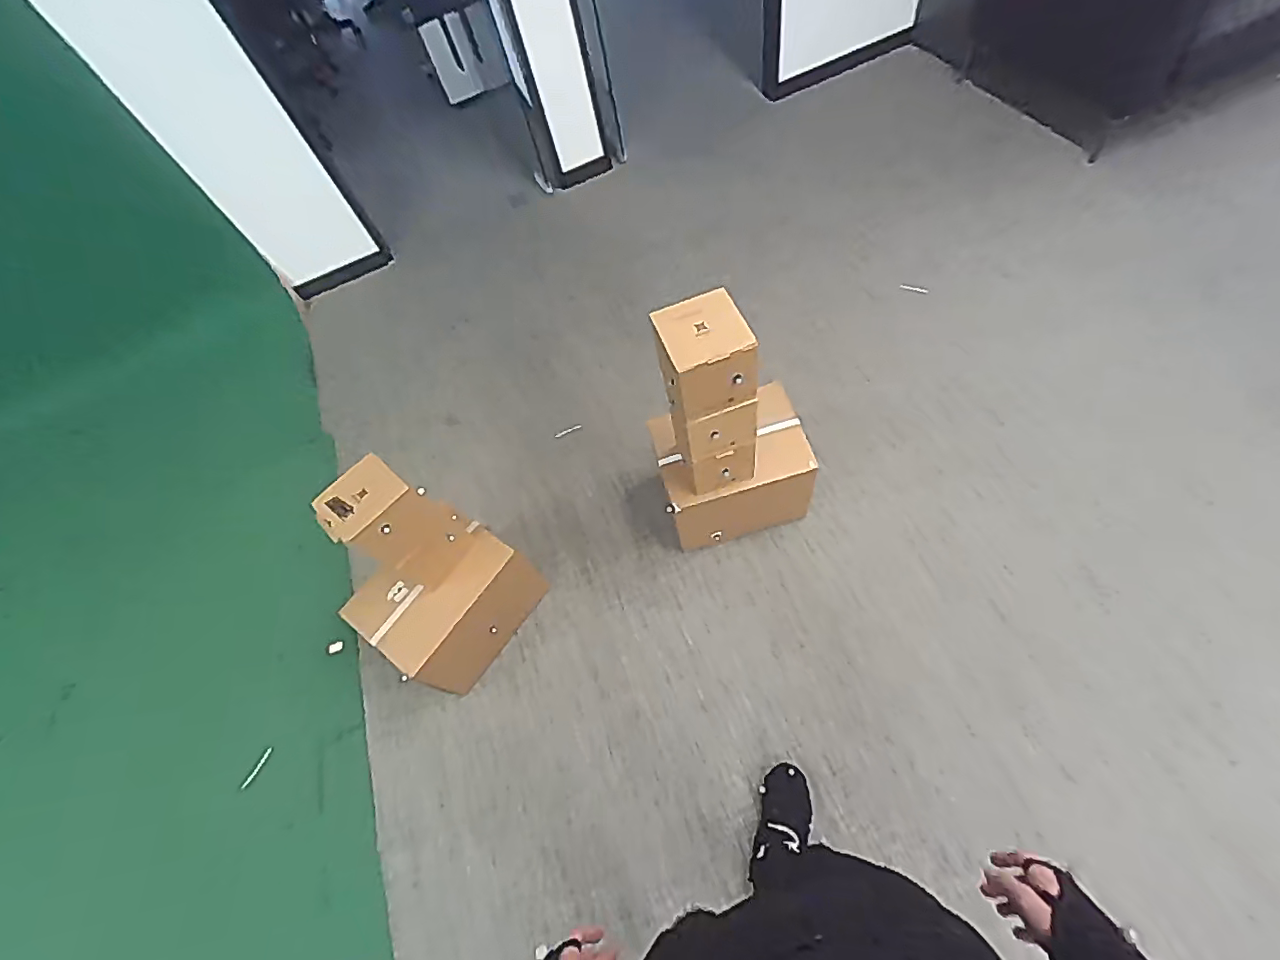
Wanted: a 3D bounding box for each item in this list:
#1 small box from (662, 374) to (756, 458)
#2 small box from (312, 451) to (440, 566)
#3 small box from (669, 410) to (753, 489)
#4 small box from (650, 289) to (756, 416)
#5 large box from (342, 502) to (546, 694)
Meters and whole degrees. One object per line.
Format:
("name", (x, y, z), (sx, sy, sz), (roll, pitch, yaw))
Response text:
("small box", (0.163, -0.172, 1.262), (0.168, 0.176, 0.179), (-19, 59, 0))
("small box", (-0.610, 0.072, 1.268), (0.168, 0.176, 0.179), (36, 72, 26))
("small box", (0.186, -0.093, 1.403), (0.168, 0.176, 0.179), (-18, 60, 0))
("small box", (0.134, -0.254, 1.125), (0.168, 0.176, 0.179), (-20, 58, -1))
("large box", (-0.545, 0.346, 1.579), (0.320, 0.320, 0.408), (28, 71, 25))
